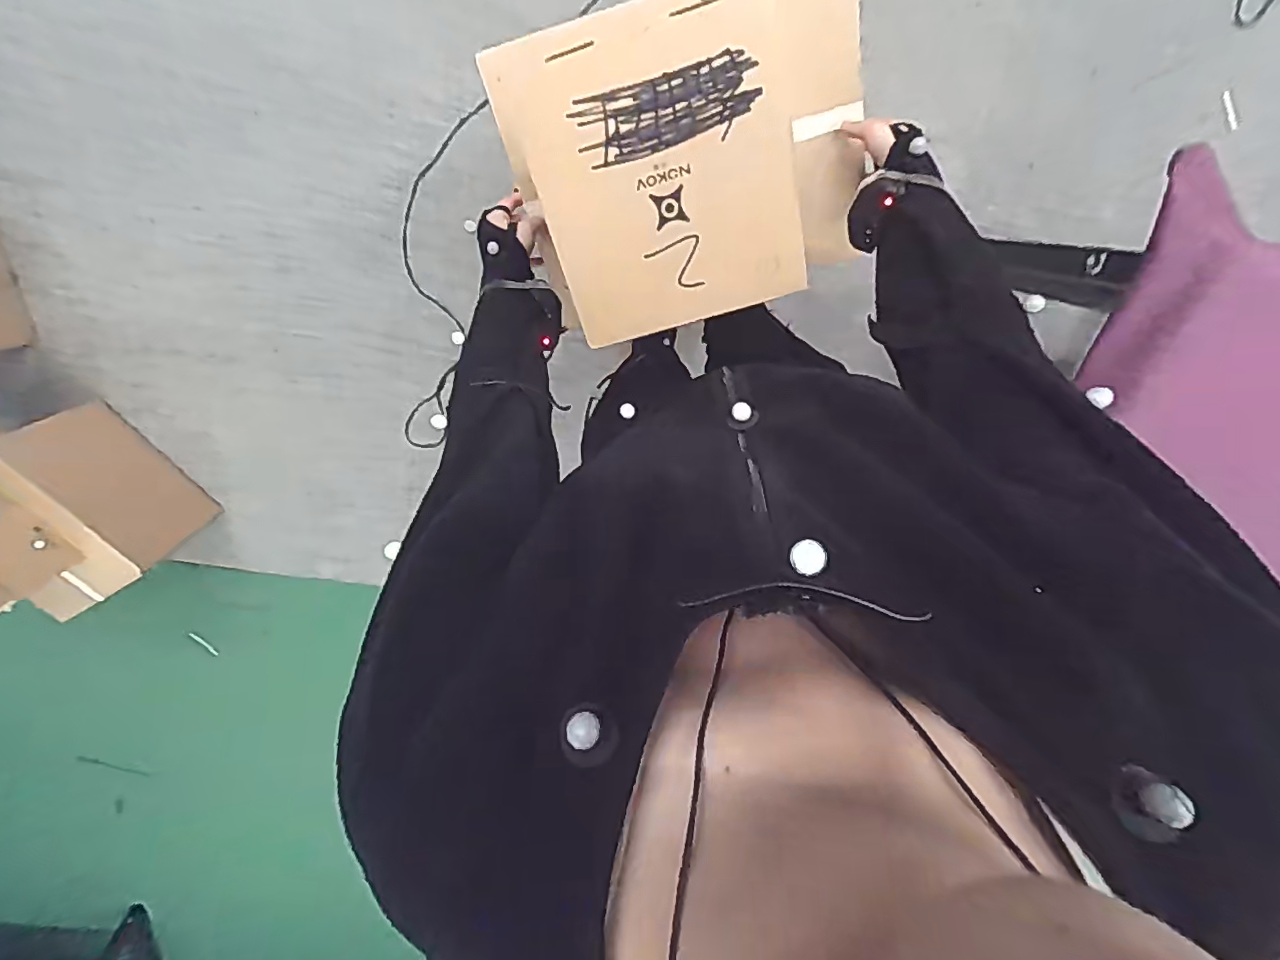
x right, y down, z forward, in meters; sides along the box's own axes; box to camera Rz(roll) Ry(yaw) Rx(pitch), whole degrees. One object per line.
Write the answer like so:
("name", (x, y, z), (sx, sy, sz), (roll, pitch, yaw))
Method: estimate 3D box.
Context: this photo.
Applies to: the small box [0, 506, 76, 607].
("small box", (-1.424, 0.186, 1.183), (0.179, 0.176, 0.168), (-24, 115, 9))
